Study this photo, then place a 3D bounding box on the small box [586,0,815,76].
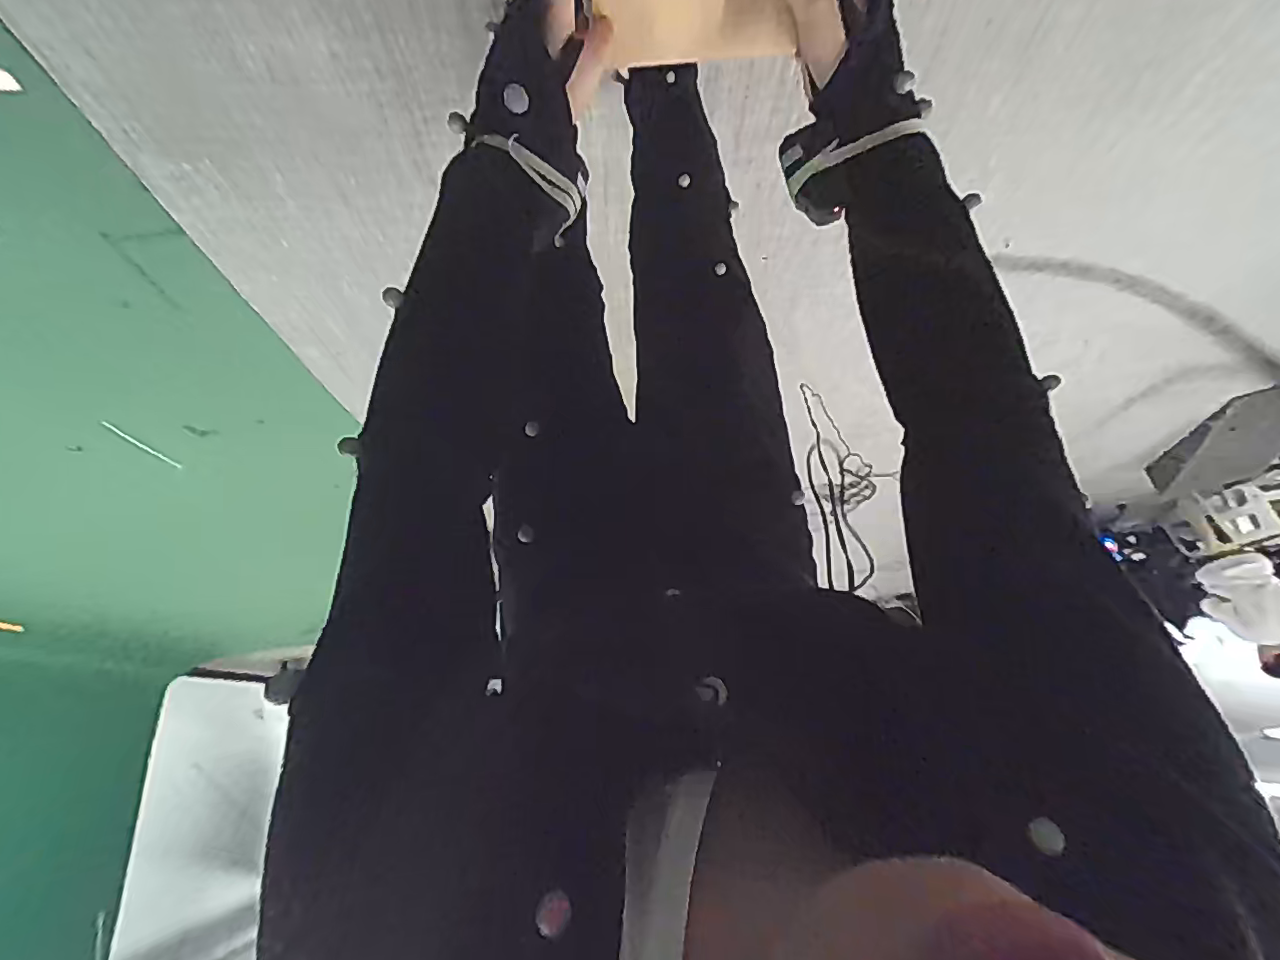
[{"bbox_3d":[0.038,-0.429,0.375,0.168,0.176,0.179,-6,159,-2],"label":"small box"}]
